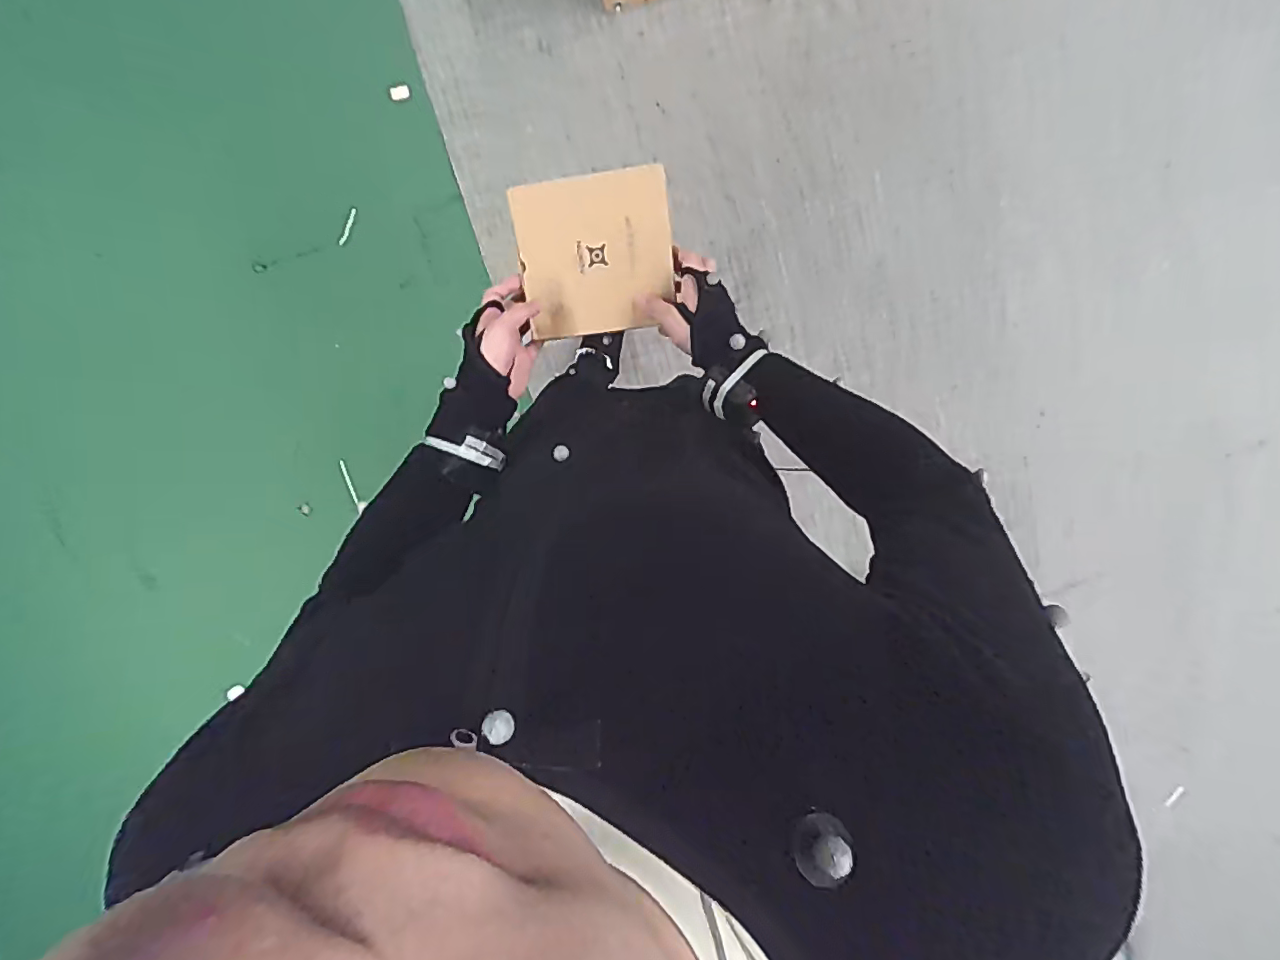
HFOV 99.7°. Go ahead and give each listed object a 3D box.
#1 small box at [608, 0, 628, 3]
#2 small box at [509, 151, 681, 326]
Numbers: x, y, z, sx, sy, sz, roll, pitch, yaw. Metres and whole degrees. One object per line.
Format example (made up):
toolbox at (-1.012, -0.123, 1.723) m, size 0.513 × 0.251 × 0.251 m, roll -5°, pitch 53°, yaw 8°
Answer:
small box at (-0.024, -1.231, 1.223) m, size 0.168 × 0.176 × 0.179 m, roll -10°, pitch 103°, yaw 5°
small box at (-0.043, -0.282, 0.669) m, size 0.179 × 0.176 × 0.168 m, roll -4°, pitch 106°, yaw 6°
